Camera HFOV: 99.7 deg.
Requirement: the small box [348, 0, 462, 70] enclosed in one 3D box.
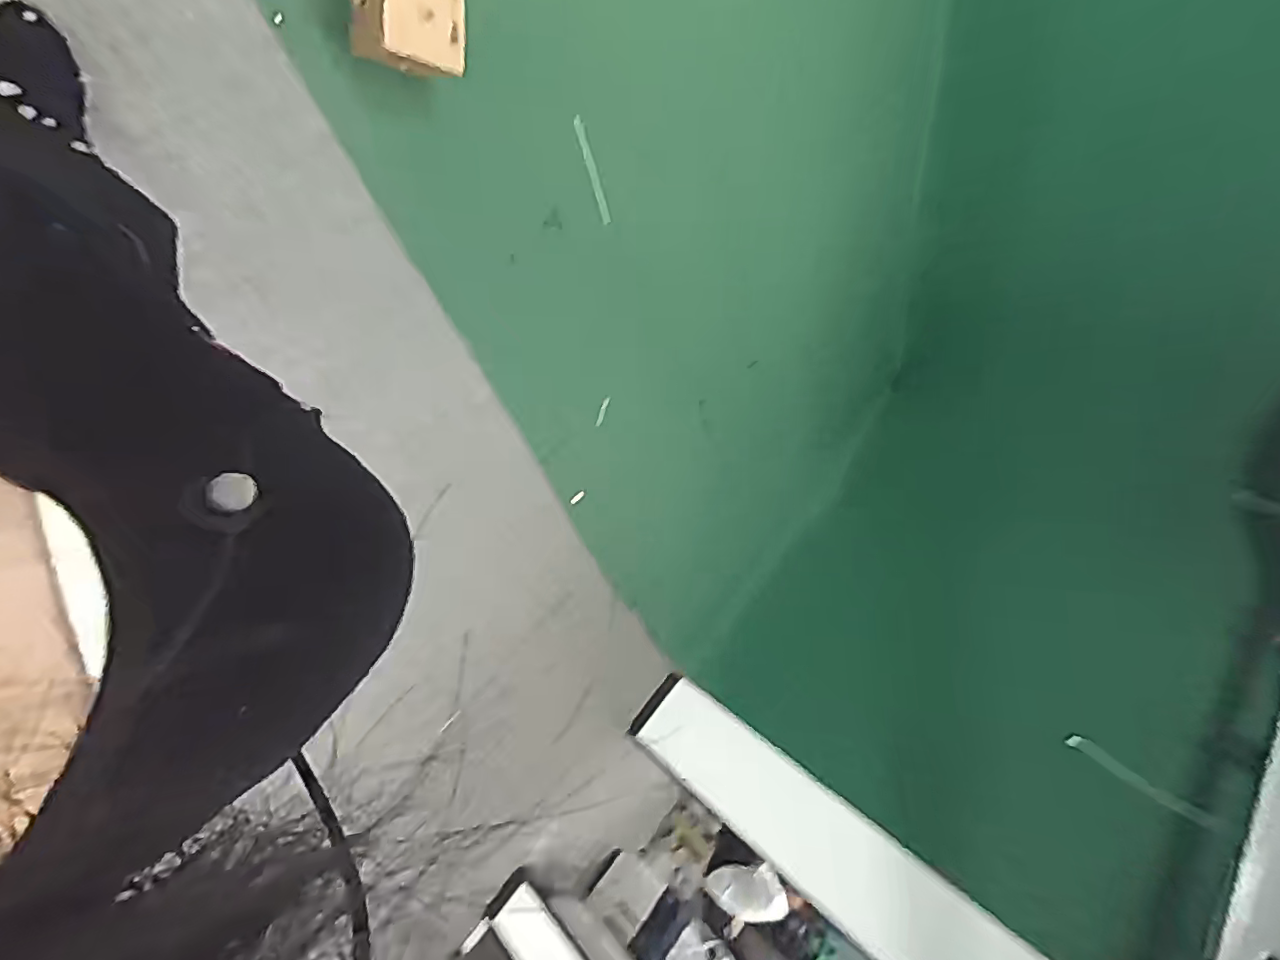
[{"bbox_3d":[-0.493,-0.980,1.126,0.179,0.176,0.168,-16,124,-44],"label":"small box"}]
